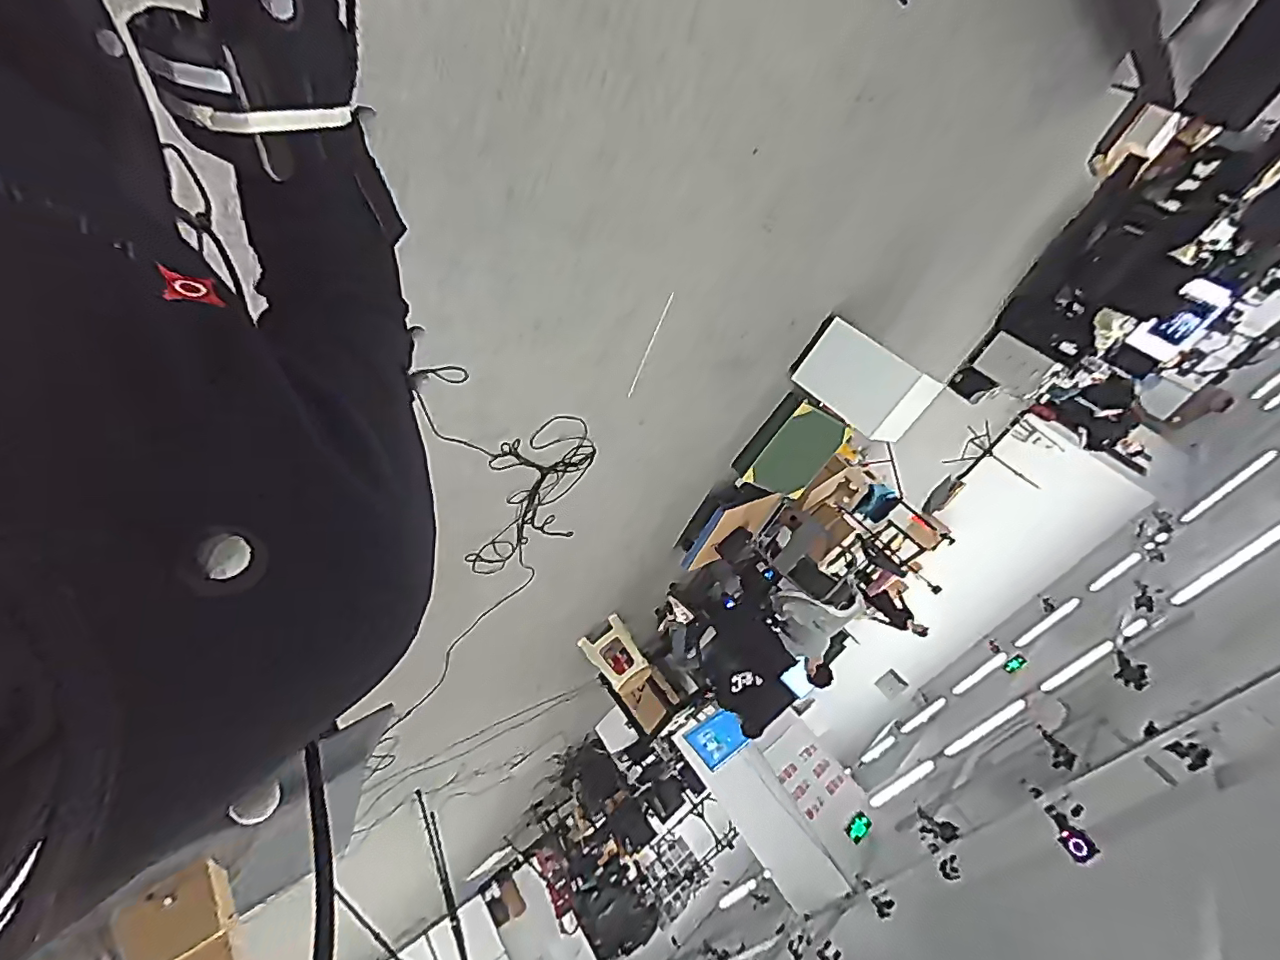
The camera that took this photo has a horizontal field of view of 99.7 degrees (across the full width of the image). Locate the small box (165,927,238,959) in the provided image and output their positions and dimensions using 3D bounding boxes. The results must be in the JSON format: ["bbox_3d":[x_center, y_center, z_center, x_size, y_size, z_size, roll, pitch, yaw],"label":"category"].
[{"bbox_3d":[-0.954,1.099,1.140,0.179,0.176,0.168,-16,142,-39],"label":"small box"}]

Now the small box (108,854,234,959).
[{"bbox_3d":[-1.042,0.980,1.208,0.168,0.176,0.179,-20,145,-36],"label":"small box"}]
